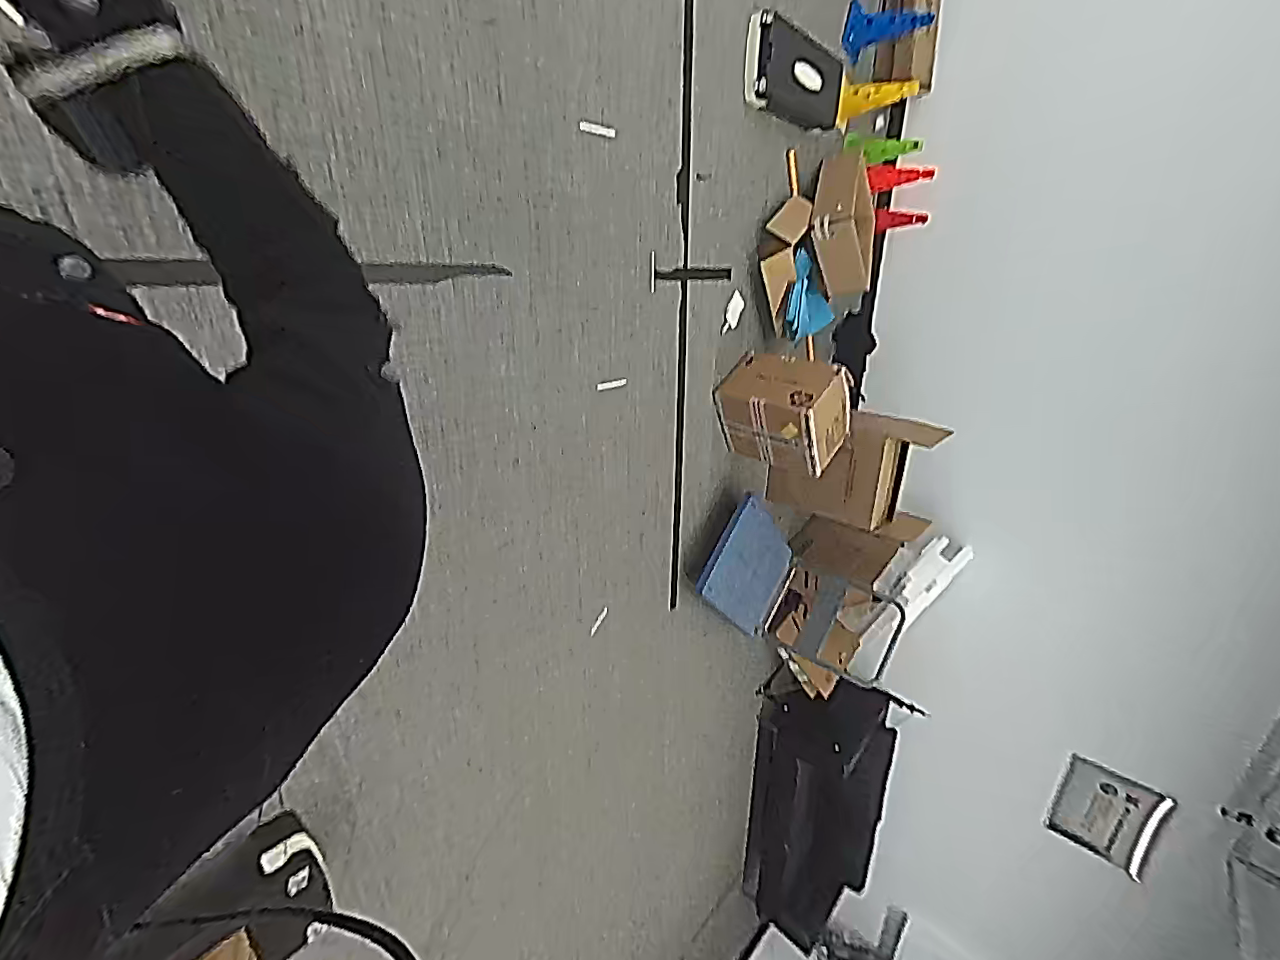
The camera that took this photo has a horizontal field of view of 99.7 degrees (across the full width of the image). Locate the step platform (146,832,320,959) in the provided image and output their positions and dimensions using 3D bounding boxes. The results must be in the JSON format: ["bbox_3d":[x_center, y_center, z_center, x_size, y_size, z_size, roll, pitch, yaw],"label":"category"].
[{"bbox_3d":[-1.131,1.182,1.236,0.684,0.204,0.286,-24,122,-45],"label":"step platform"}]
